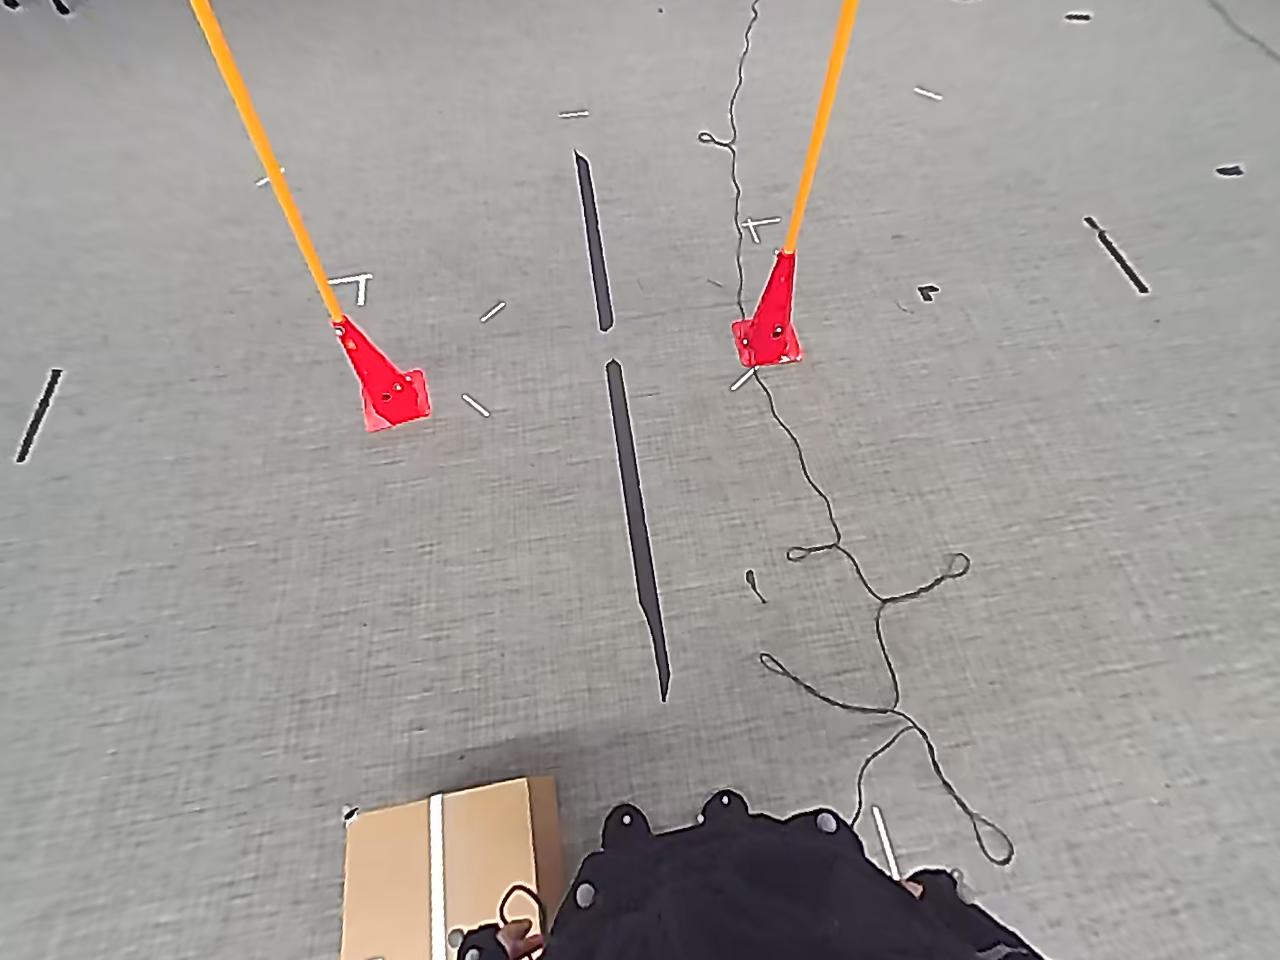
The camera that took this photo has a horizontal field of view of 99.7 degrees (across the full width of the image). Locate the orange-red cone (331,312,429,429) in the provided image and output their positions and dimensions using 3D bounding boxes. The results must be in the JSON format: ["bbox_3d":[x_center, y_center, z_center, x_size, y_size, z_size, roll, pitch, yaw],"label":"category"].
[{"bbox_3d":[-0.776,-0.337,1.553,0.199,0.360,0.198,-17,62,-6],"label":"orange-red cone"}]
